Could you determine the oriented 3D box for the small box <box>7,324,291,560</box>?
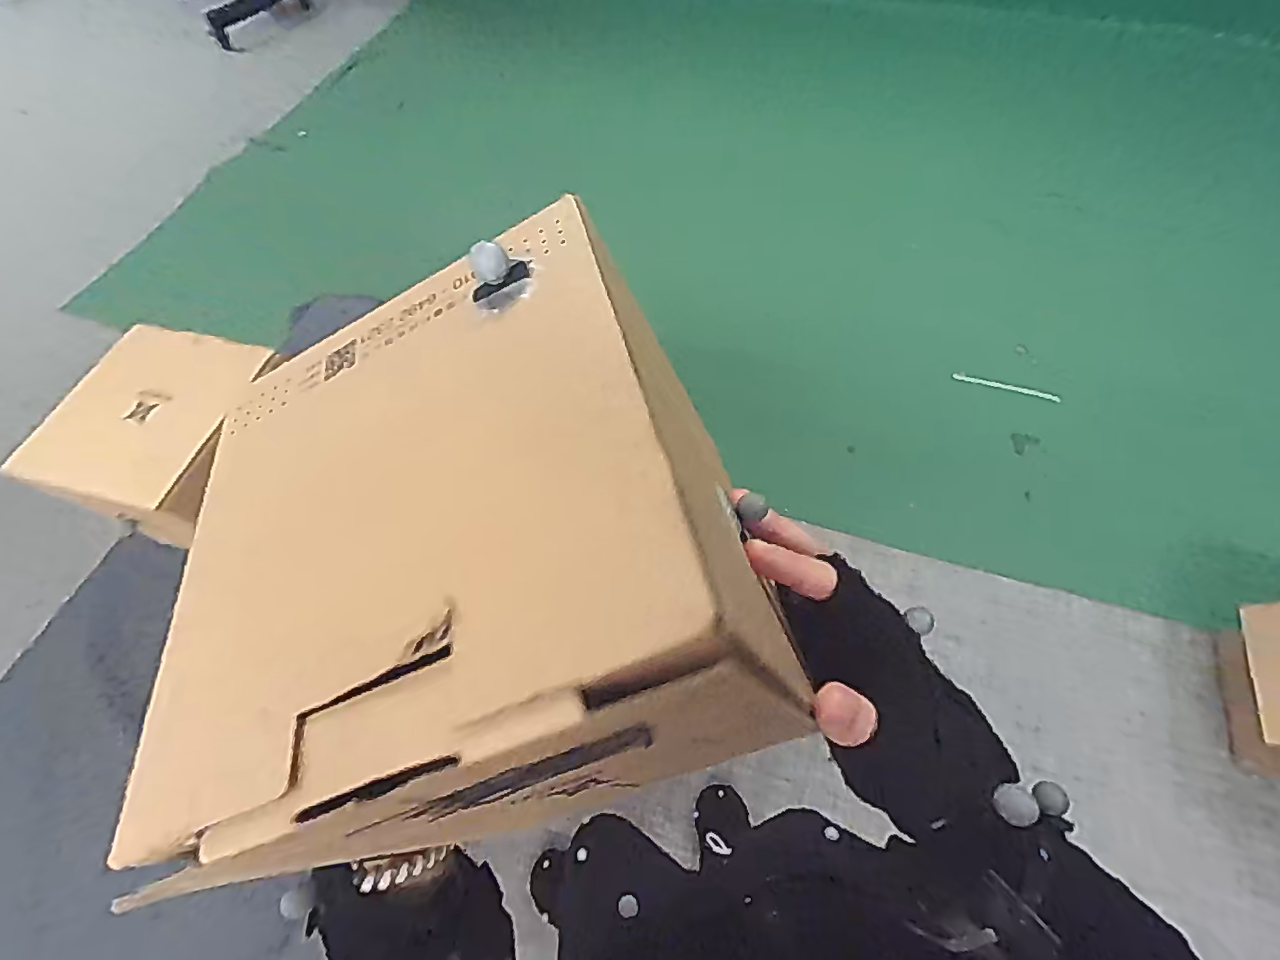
[{"bbox_3d":[-0.435,-0.027,0.553,0.168,0.176,0.179,11,63,10],"label":"small box"}]

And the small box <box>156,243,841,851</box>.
[{"bbox_3d":[-0.035,0.031,0.231,0.168,0.179,0.176,-25,54,11],"label":"small box"}]
